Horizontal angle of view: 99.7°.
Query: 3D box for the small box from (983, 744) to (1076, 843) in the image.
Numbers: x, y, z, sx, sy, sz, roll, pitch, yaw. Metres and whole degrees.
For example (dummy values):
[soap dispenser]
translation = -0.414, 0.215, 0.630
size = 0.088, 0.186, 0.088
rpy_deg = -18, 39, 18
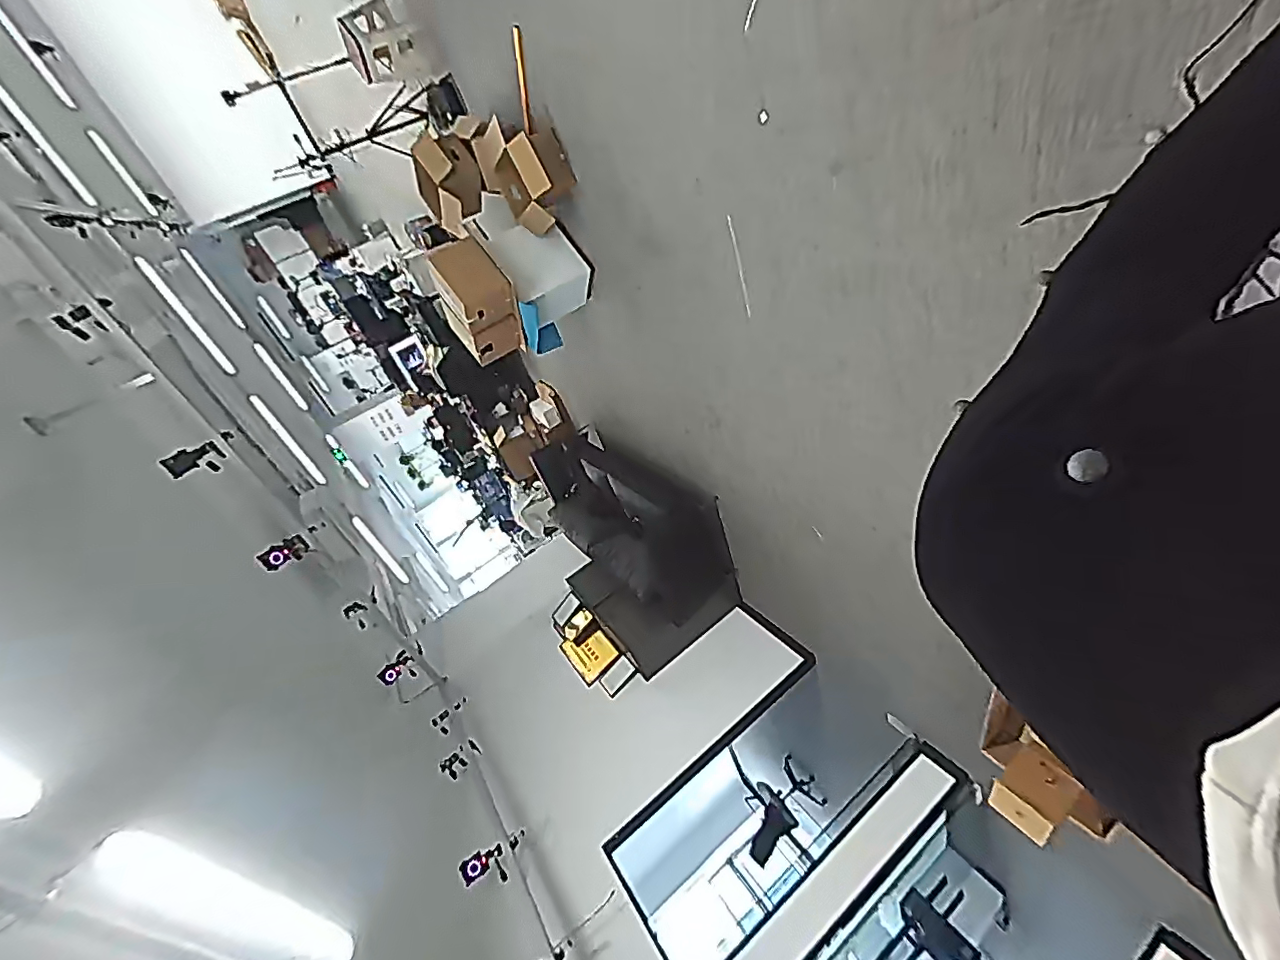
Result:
[small box]
translation = 1.203, 0.965, 1.674
size = 0.168, 0.176, 0.179
rpy_deg = 36, 152, 47
